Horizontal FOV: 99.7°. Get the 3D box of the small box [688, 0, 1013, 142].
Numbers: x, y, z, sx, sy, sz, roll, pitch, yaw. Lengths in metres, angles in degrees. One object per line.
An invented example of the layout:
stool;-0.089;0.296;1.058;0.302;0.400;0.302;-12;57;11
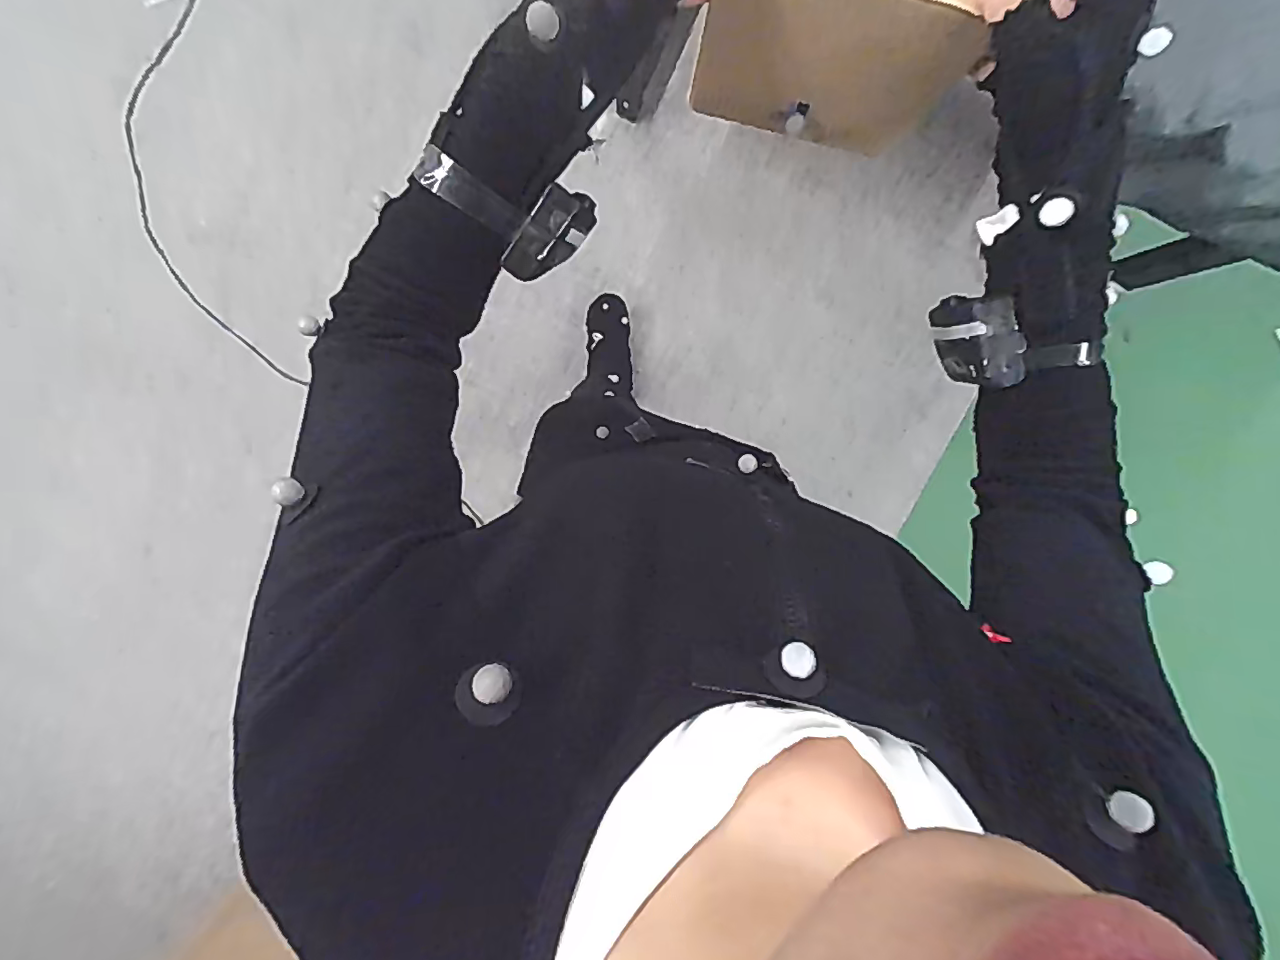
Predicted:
small box;0.144;-0.371;0.376;0.179;0.176;0.168;12;97;-4
